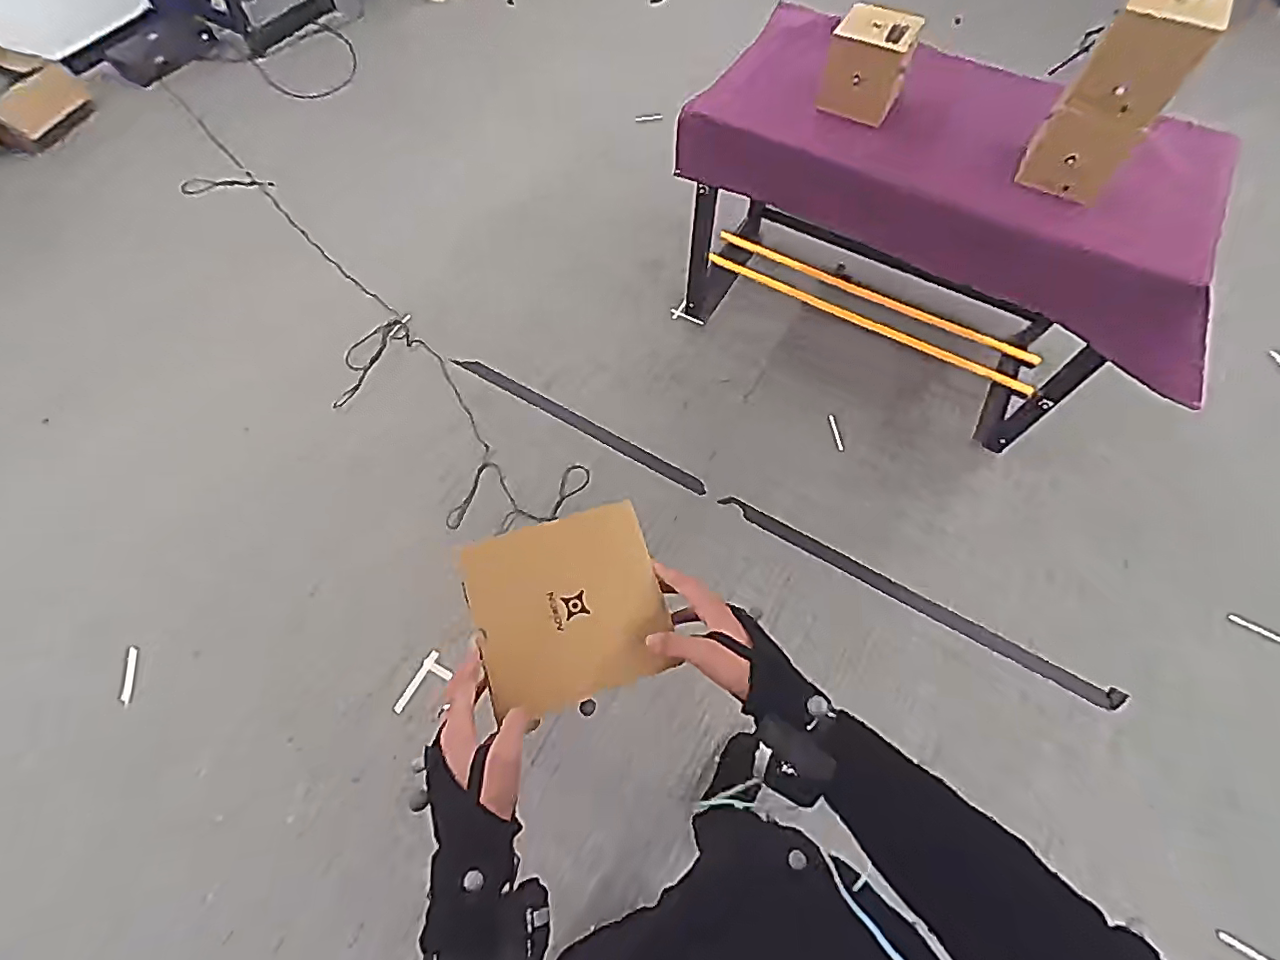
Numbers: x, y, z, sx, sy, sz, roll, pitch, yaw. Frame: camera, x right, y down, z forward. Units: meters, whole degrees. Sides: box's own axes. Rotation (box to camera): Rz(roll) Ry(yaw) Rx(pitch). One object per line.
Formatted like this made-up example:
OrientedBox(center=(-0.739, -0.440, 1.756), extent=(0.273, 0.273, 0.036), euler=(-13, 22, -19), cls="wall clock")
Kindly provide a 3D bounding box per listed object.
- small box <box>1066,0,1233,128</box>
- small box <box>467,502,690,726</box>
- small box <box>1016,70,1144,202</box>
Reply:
OrientedBox(center=(0.986, -0.839, 1.060), extent=(0.168, 0.176, 0.179), euler=(28, 68, 14), cls="small box")
OrientedBox(center=(-0.070, 0.138, 0.577), extent=(0.179, 0.176, 0.168), euler=(-15, 77, -14), cls="small box")
OrientedBox(center=(0.982, -0.759, 1.204), extent=(0.168, 0.176, 0.179), euler=(28, 67, 13), cls="small box")
